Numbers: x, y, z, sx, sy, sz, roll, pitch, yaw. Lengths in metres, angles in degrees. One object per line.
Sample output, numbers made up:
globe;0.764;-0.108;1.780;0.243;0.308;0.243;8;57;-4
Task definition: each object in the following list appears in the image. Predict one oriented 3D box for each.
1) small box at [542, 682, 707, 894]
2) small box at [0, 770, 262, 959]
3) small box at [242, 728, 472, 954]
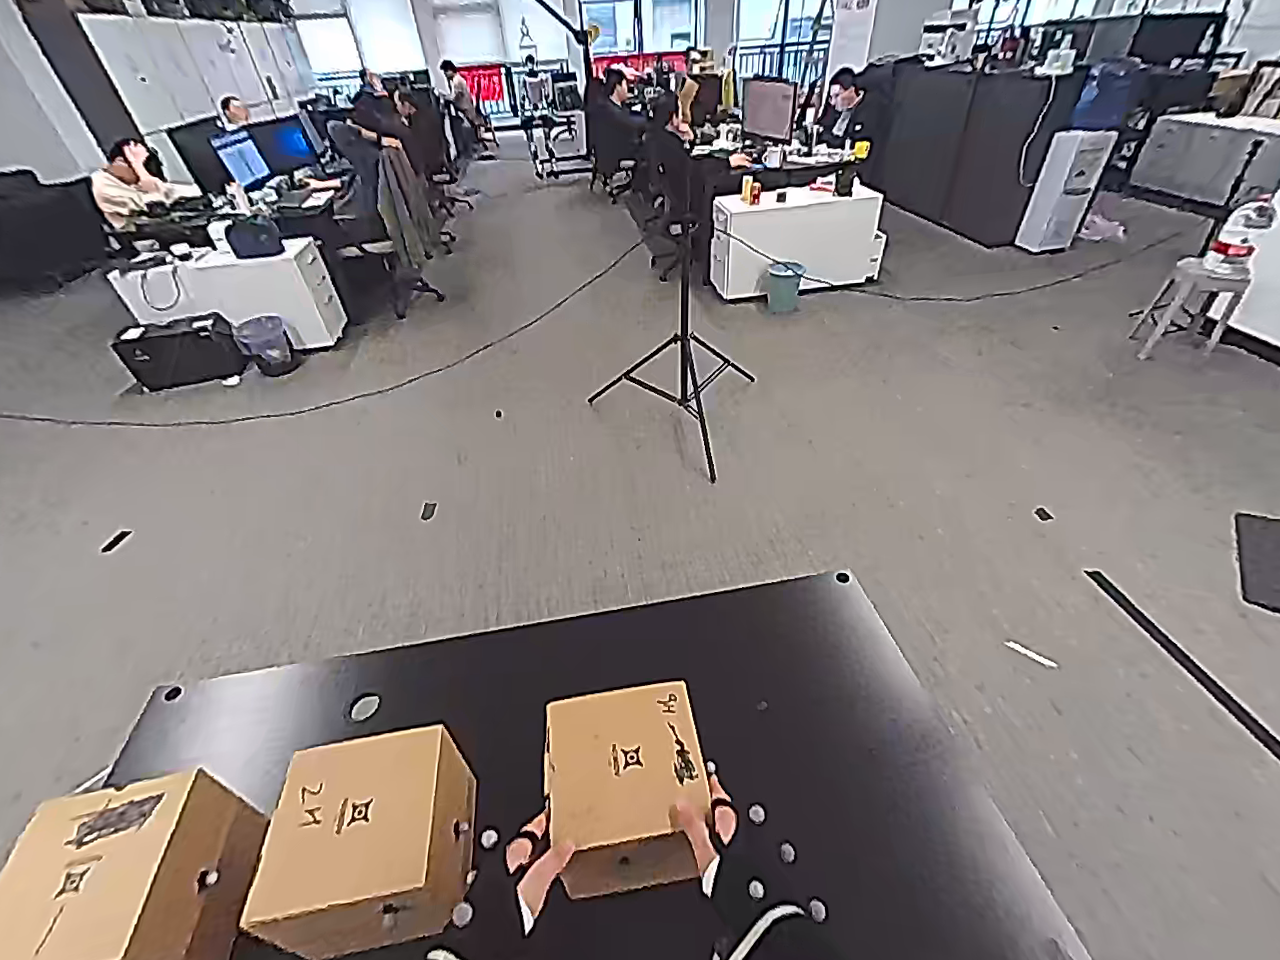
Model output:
small box;-0.018;0.380;0.667;0.179;0.176;0.168;-8;40;-4
small box;-0.568;0.466;0.609;0.168;0.176;0.179;-10;41;-7
small box;-0.306;0.424;0.637;0.179;0.176;0.168;-9;40;-6
